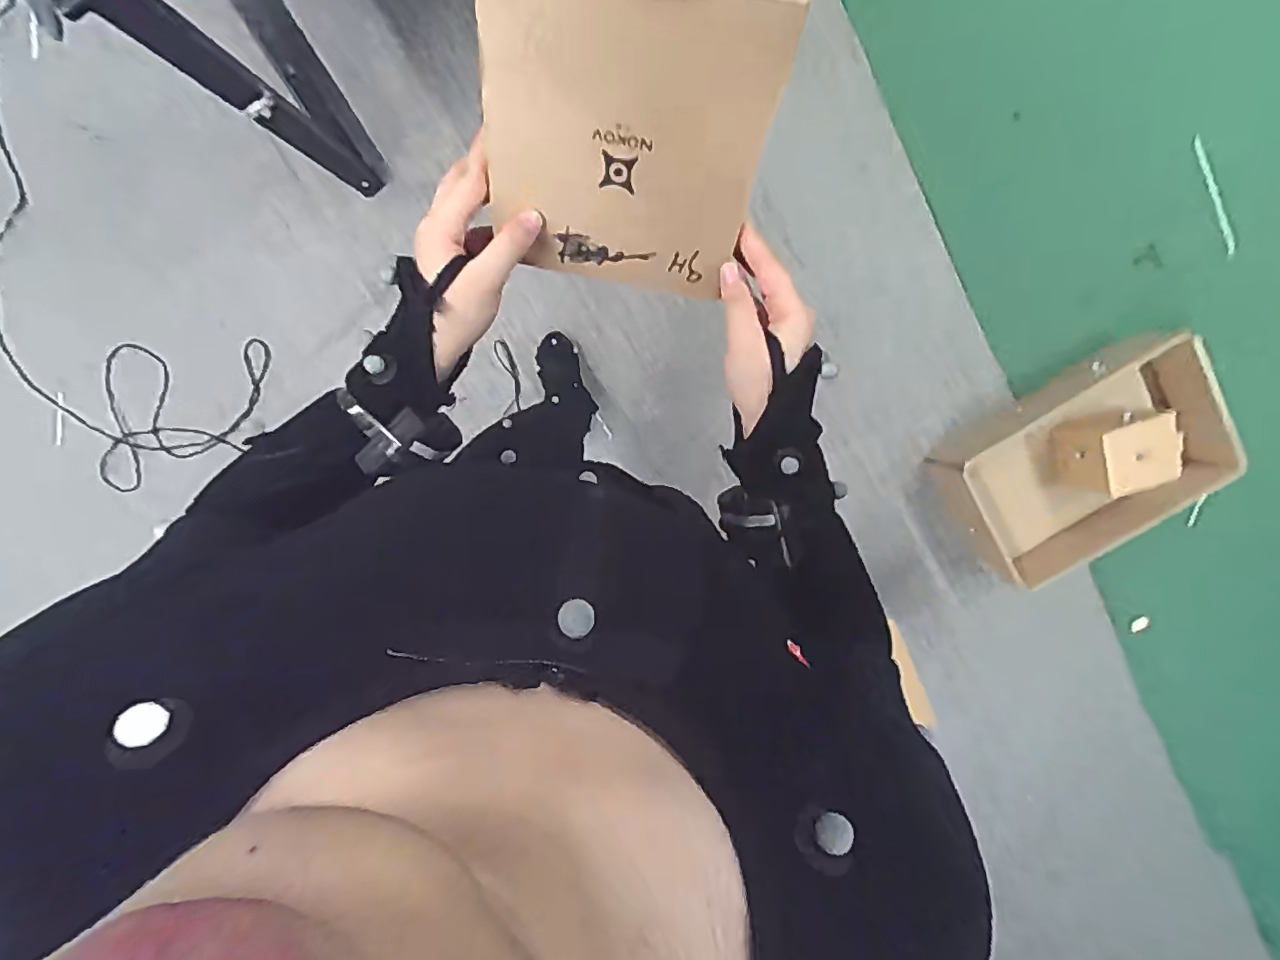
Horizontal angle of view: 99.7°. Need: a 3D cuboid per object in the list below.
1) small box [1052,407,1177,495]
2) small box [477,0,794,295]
[{"bbox_3d":[1.193,-0.079,1.375,0.179,0.176,0.168,-19,102,3],"label":"small box"},{"bbox_3d":[-0.008,-0.267,0.382,0.168,0.176,0.179,9,145,-4],"label":"small box"}]
